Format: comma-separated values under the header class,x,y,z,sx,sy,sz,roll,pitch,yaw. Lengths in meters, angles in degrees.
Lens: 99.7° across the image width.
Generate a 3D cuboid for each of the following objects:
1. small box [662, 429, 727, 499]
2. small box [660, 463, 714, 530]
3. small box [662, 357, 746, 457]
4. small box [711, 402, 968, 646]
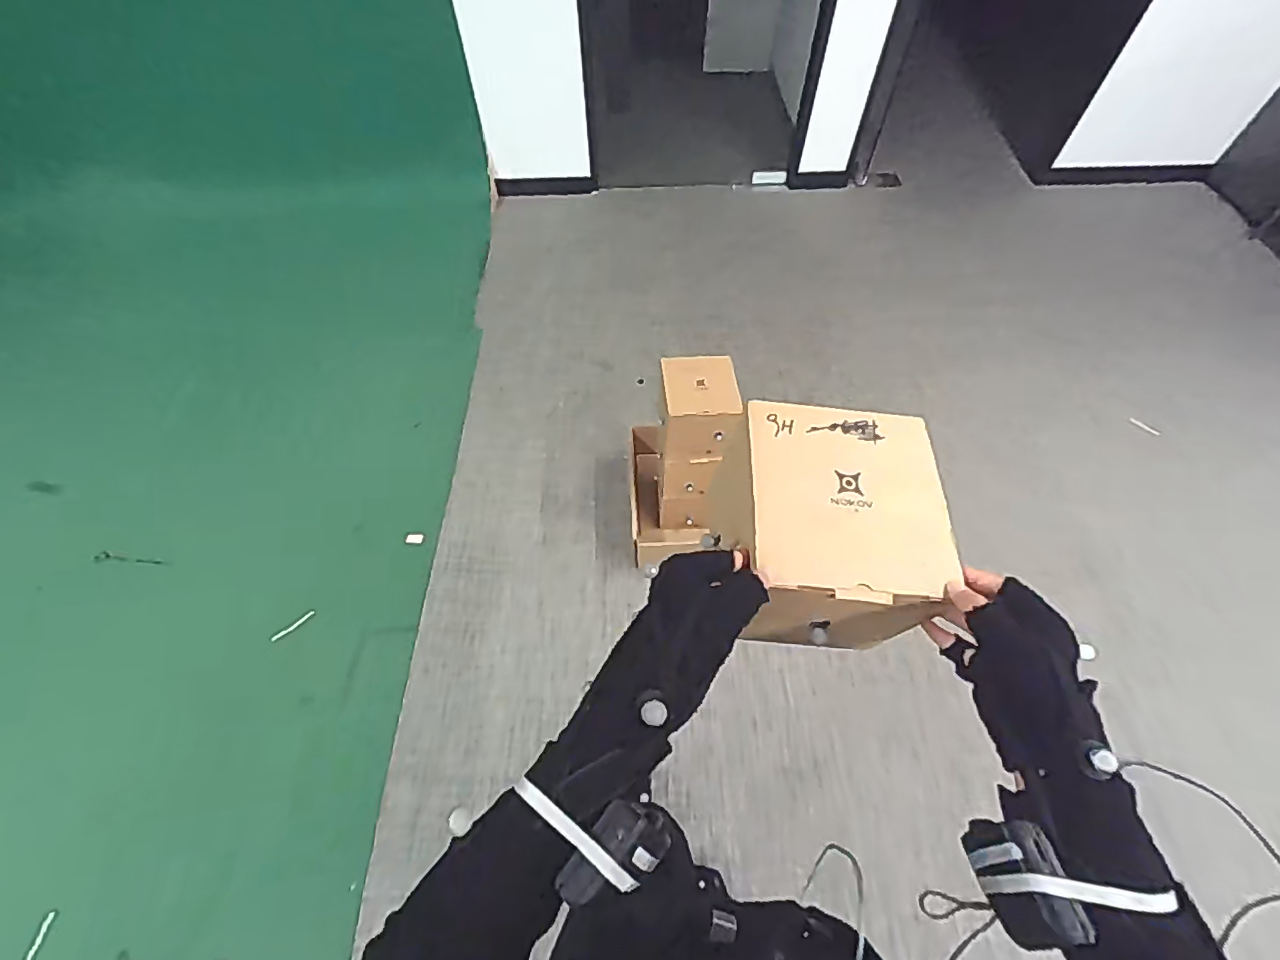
class,x,y,z,sx,sy,sz,roll,pitch,yaw
small box,0.144,-0.067,1.394,0.168,0.176,0.179,-2,56,-2
small box,0.144,0.025,1.529,0.168,0.176,0.179,-1,56,0
small box,0.142,-0.163,1.262,0.168,0.176,0.179,-3,56,-3
small box,0.166,0.052,0.513,0.168,0.176,0.179,6,61,-3
